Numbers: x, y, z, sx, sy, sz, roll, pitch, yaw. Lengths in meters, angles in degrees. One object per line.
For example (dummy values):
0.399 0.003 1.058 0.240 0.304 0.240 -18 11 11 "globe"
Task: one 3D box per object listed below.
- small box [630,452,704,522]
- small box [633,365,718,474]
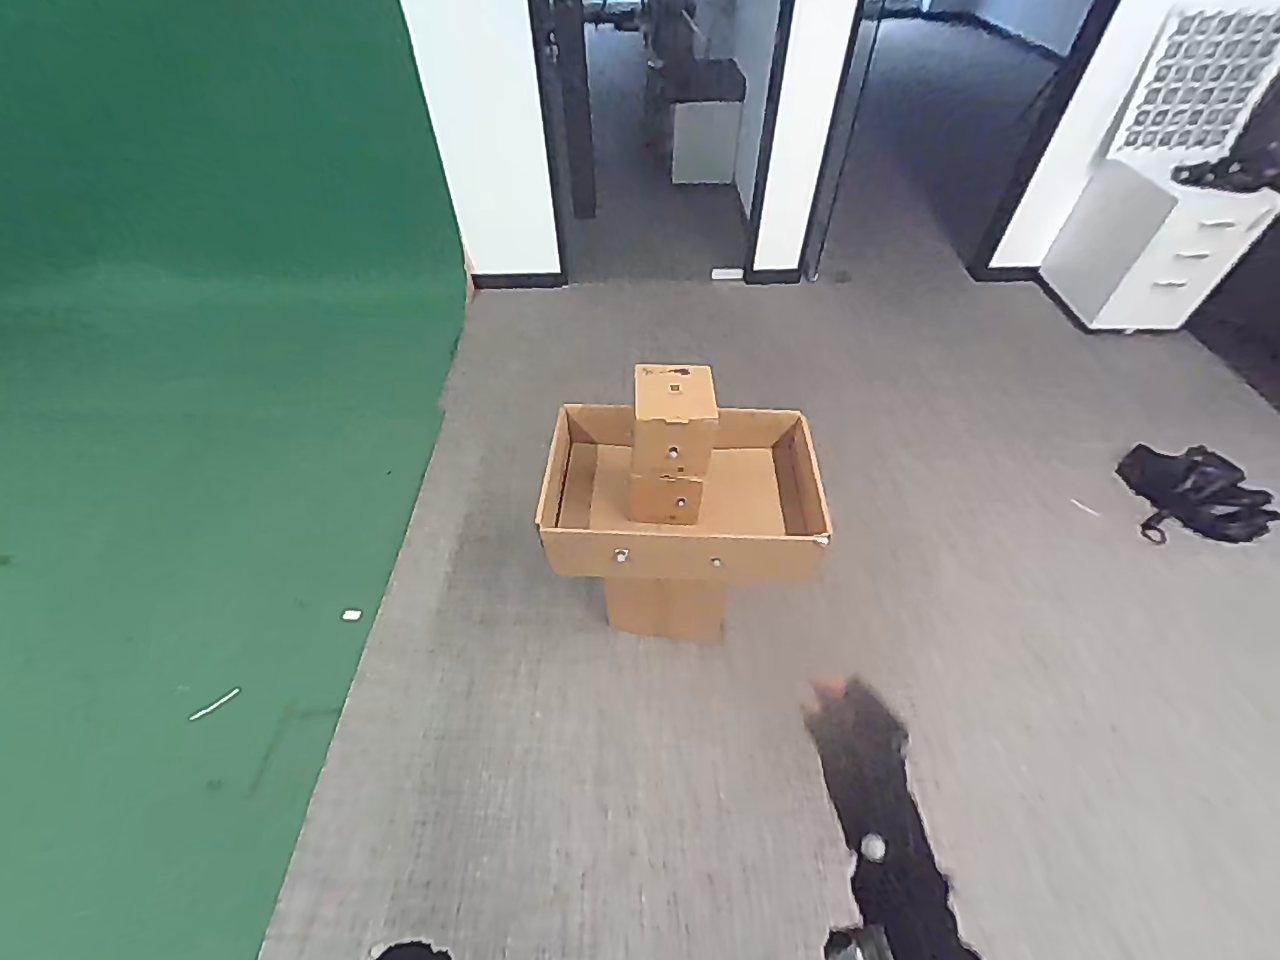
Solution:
0.062 -0.016 1.296 0.168 0.176 0.179 4 47 -1 "small box"
0.071 -0.129 1.177 0.168 0.176 0.179 2 50 -2 "small box"
